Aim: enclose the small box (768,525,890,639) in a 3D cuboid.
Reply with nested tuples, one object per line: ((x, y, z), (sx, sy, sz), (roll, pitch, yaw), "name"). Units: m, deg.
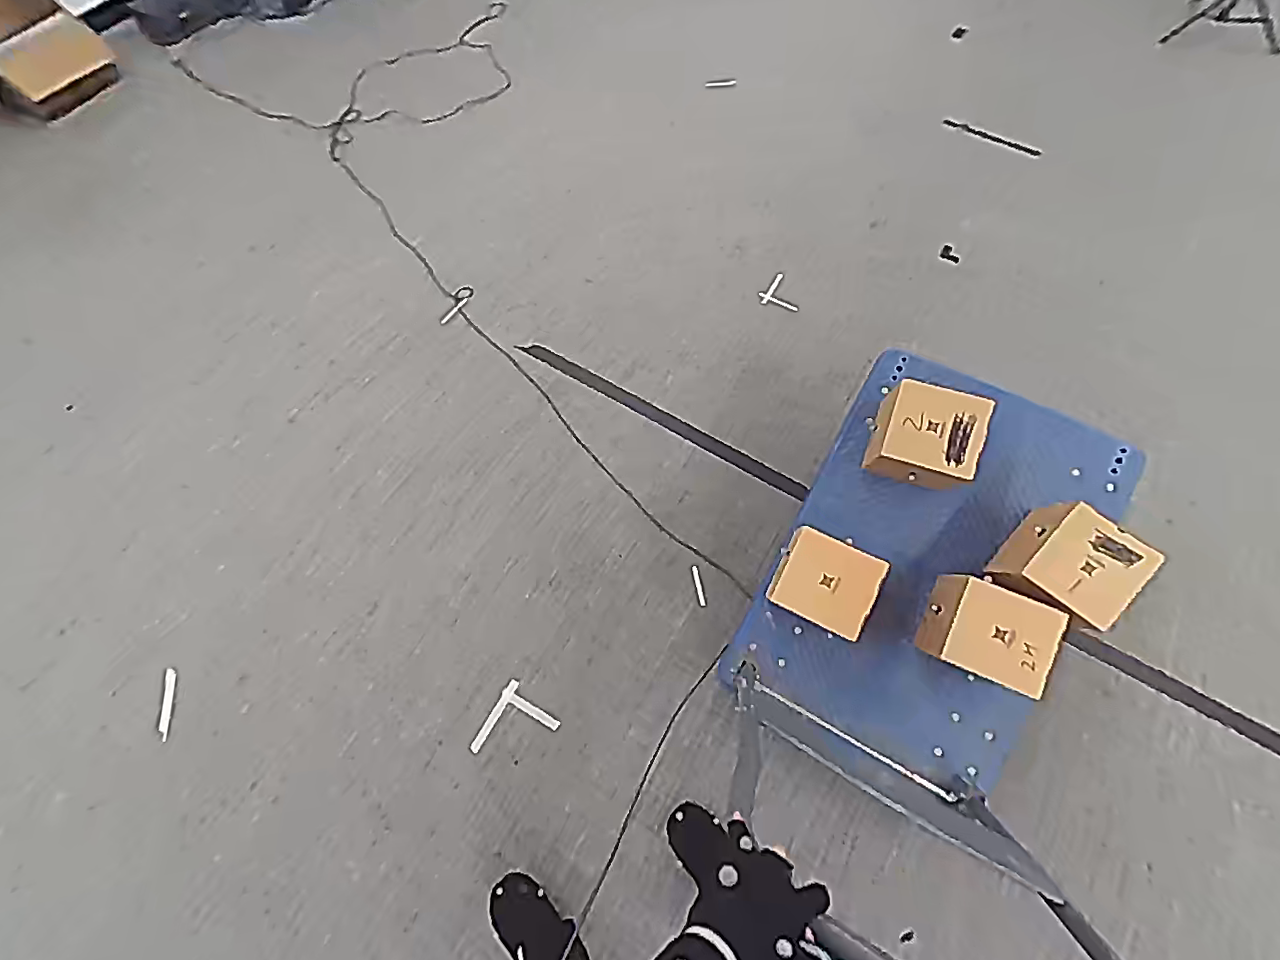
((0.378, 0.208, 1.120), (0.179, 0.176, 0.168), (26, 87, 11), "small box")

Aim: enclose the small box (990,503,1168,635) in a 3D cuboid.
((0.826, 0.167, 1.043), (0.168, 0.176, 0.179), (40, 91, 14), "small box")

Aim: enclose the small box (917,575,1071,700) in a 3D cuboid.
((0.671, 0.296, 1.051), (0.179, 0.176, 0.168), (23, 86, 13), "small box")
